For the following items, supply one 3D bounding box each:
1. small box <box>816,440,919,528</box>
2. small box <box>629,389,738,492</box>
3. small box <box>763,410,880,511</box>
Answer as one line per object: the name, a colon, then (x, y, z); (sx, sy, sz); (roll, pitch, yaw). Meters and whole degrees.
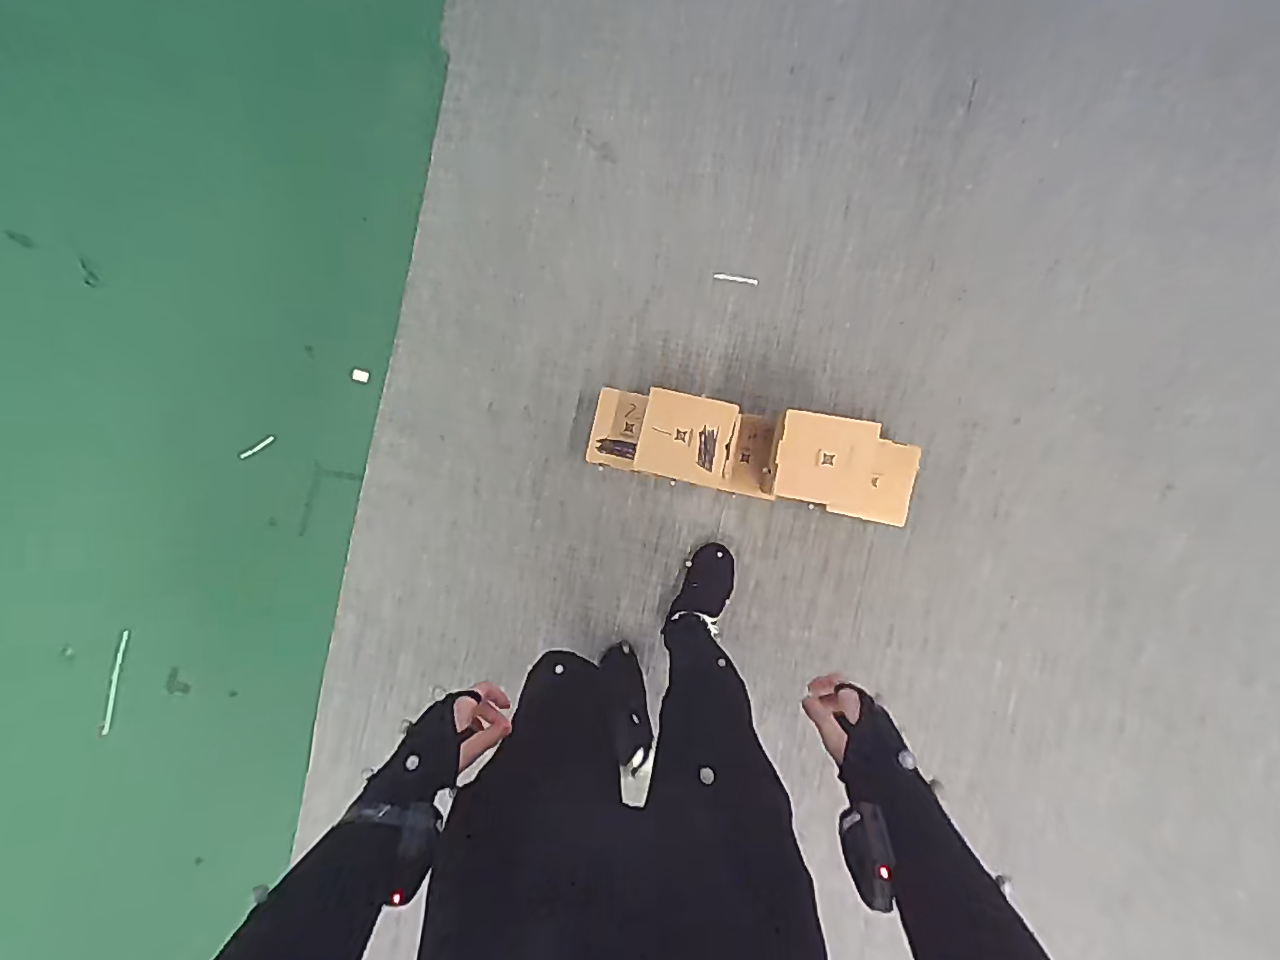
small box: (0.503, 0.001, 1.225); (0.168, 0.176, 0.179); (12, 90, 8)
small box: (0.095, -0.075, 1.113); (0.179, 0.176, 0.168); (15, 89, 10)
small box: (0.352, -0.035, 1.081); (0.179, 0.176, 0.168); (10, 91, 6)
